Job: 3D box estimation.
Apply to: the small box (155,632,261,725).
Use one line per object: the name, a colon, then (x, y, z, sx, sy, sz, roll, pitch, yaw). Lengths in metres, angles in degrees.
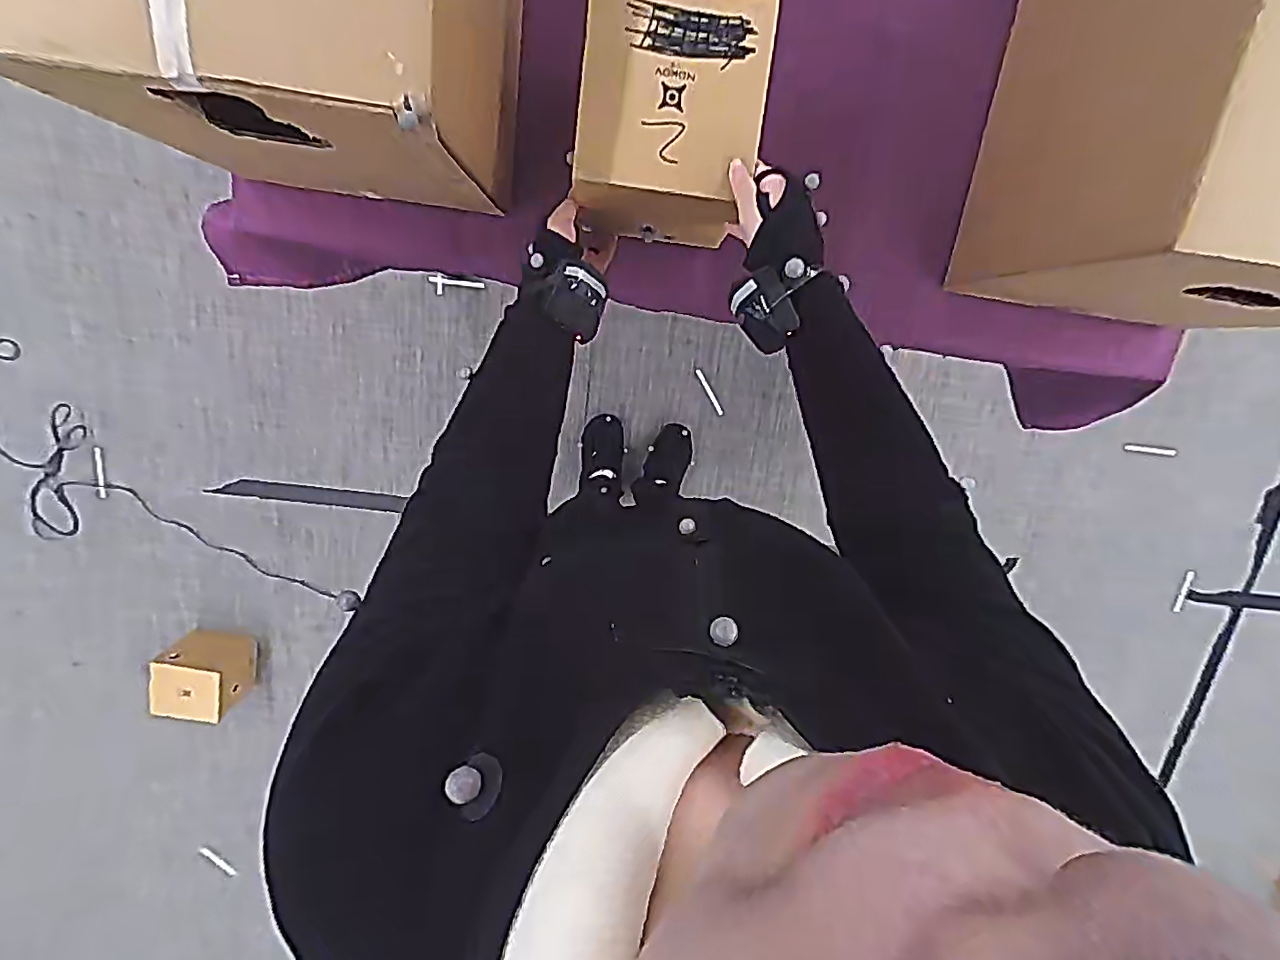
small box: (-1.202, 0.550, 1.515, 0.179, 0.176, 0.168, 12, 105, -5)
